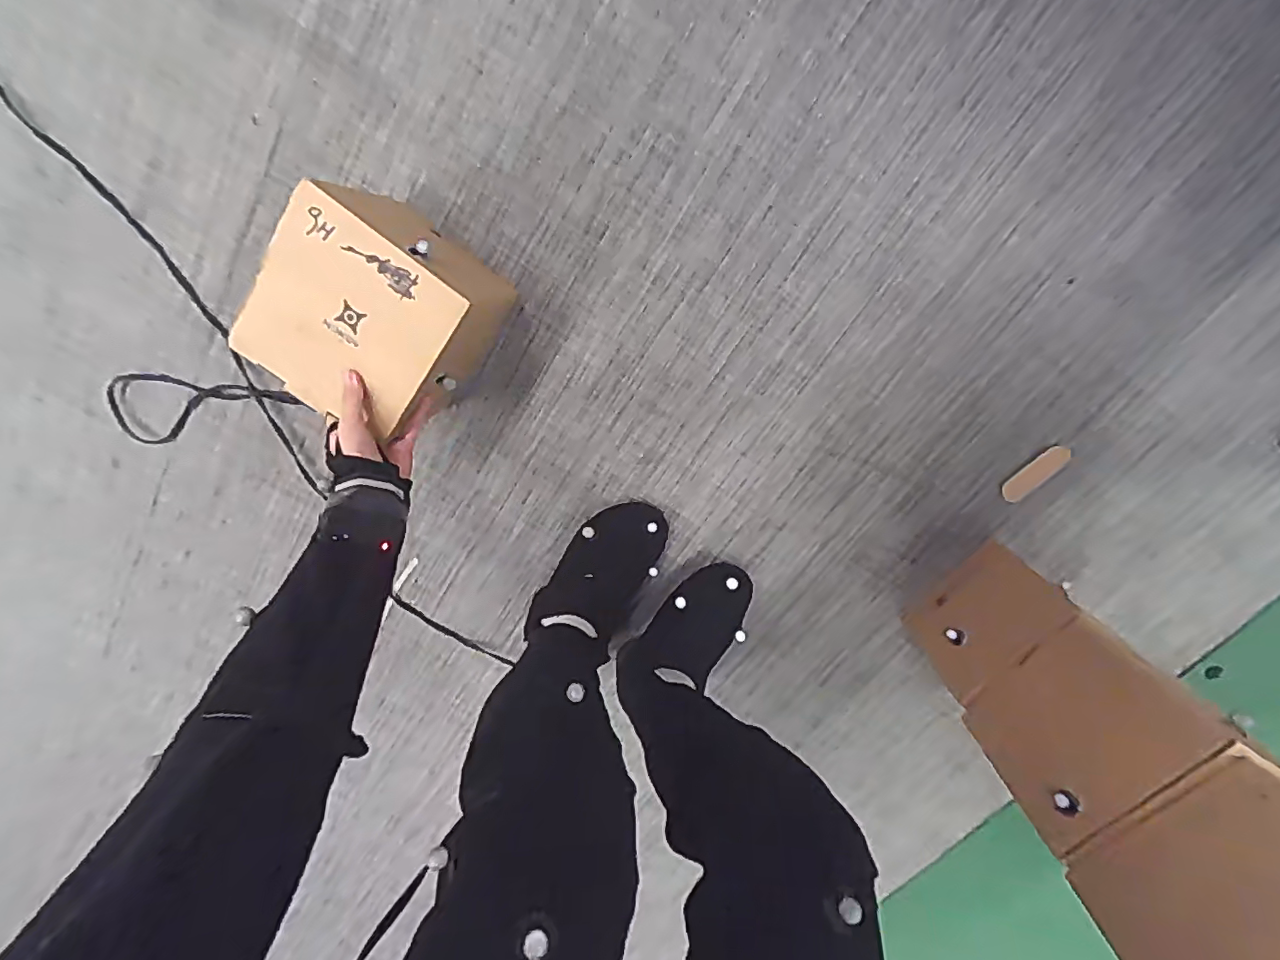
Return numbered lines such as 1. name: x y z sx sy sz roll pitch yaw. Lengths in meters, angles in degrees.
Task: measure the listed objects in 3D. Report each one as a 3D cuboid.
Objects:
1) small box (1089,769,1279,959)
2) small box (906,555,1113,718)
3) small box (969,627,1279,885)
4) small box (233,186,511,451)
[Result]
1. small box: 0.476 0.352 0.380 0.168 0.176 0.179 32 109 -10
2. small box: 0.478 0.219 0.678 0.179 0.176 0.168 34 108 -10
3. small box: 0.475 0.279 0.528 0.168 0.176 0.179 32 110 -10
4. small box: -0.258 -0.164 0.562 0.168 0.176 0.179 37 109 -11
